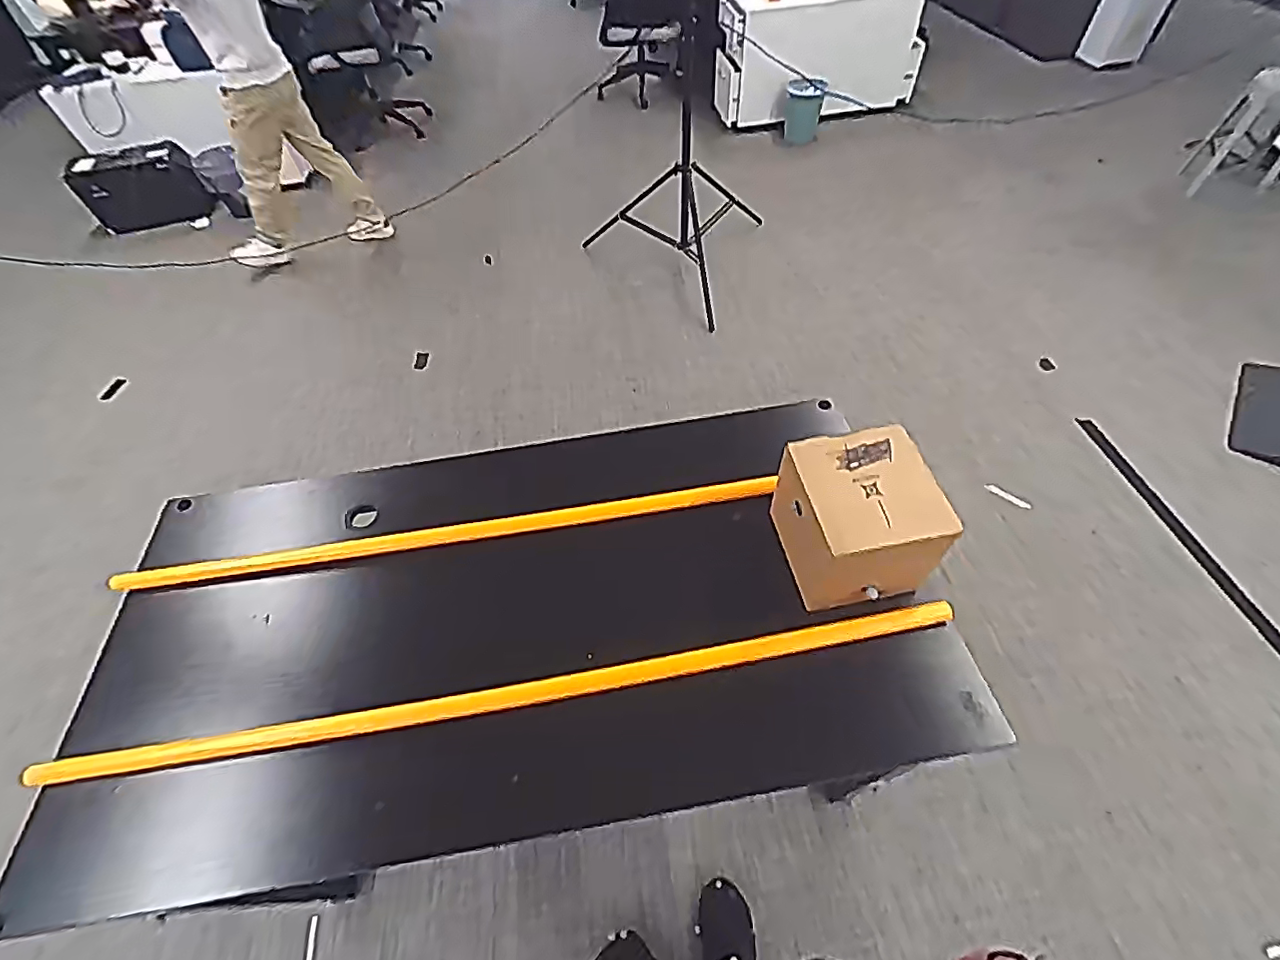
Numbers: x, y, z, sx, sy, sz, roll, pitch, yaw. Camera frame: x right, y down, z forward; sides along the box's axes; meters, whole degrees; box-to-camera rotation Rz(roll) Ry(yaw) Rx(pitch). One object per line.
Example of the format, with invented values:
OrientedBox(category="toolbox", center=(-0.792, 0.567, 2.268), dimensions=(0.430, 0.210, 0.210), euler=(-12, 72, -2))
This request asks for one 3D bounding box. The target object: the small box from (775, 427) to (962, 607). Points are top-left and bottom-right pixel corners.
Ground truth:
OrientedBox(category="small box", center=(0.300, 0.054, 0.759), dimensions=(0.168, 0.176, 0.179), euler=(-10, 54, -2))
